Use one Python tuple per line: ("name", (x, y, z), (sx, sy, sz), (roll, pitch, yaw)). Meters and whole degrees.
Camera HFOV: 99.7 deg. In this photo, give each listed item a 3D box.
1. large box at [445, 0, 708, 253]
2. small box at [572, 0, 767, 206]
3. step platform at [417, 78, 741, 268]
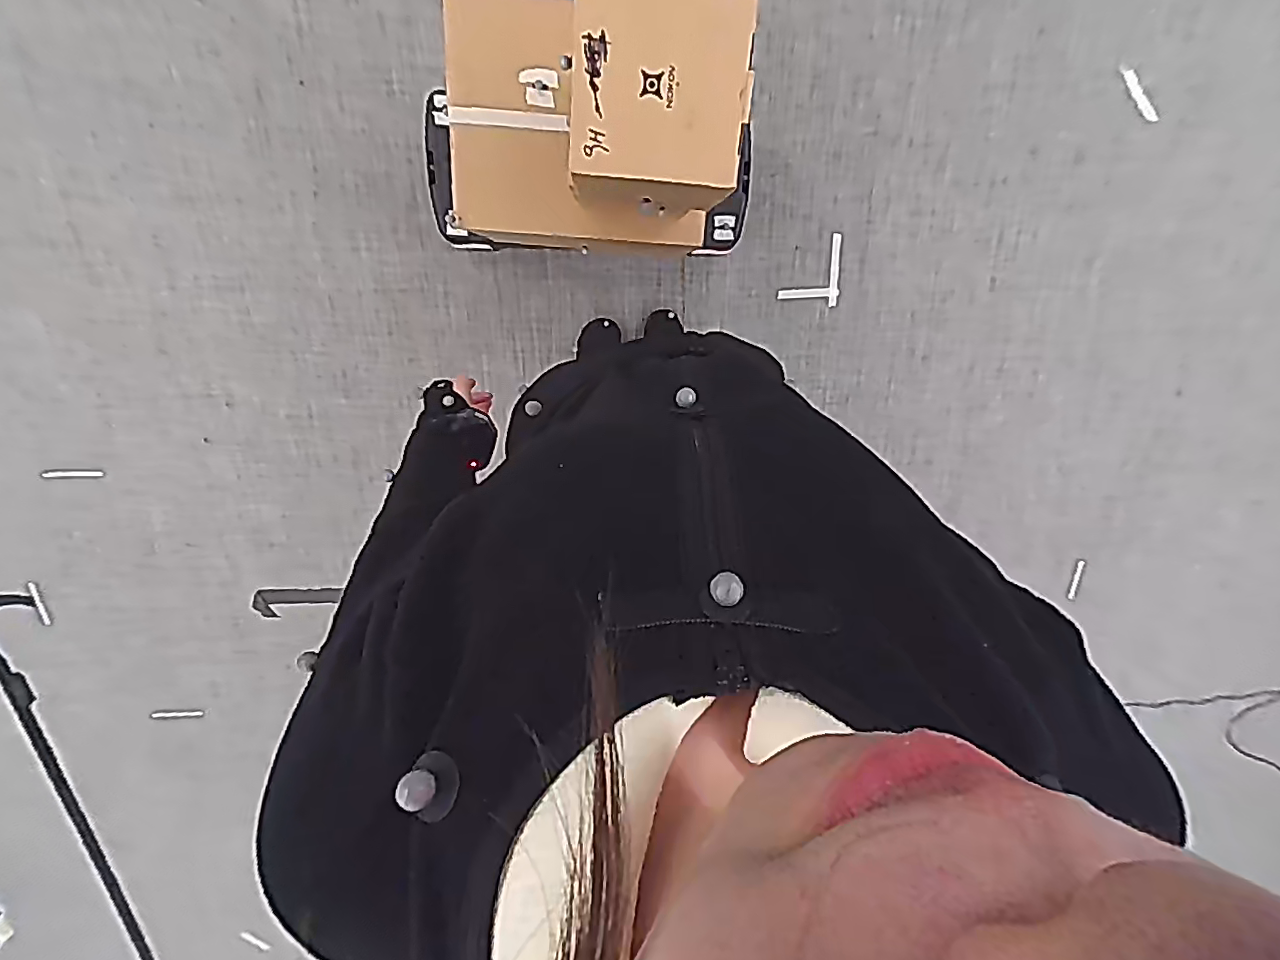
("large box", (-0.090, -0.583, 0.960), (0.408, 0.320, 0.320), (3, 109, -3))
("small box", (0.019, -0.408, 0.594), (0.179, 0.176, 0.168), (3, 109, -5))
("step platform", (-0.123, -0.653, 1.186), (0.684, 0.204, 0.286), (5, 109, -4))
